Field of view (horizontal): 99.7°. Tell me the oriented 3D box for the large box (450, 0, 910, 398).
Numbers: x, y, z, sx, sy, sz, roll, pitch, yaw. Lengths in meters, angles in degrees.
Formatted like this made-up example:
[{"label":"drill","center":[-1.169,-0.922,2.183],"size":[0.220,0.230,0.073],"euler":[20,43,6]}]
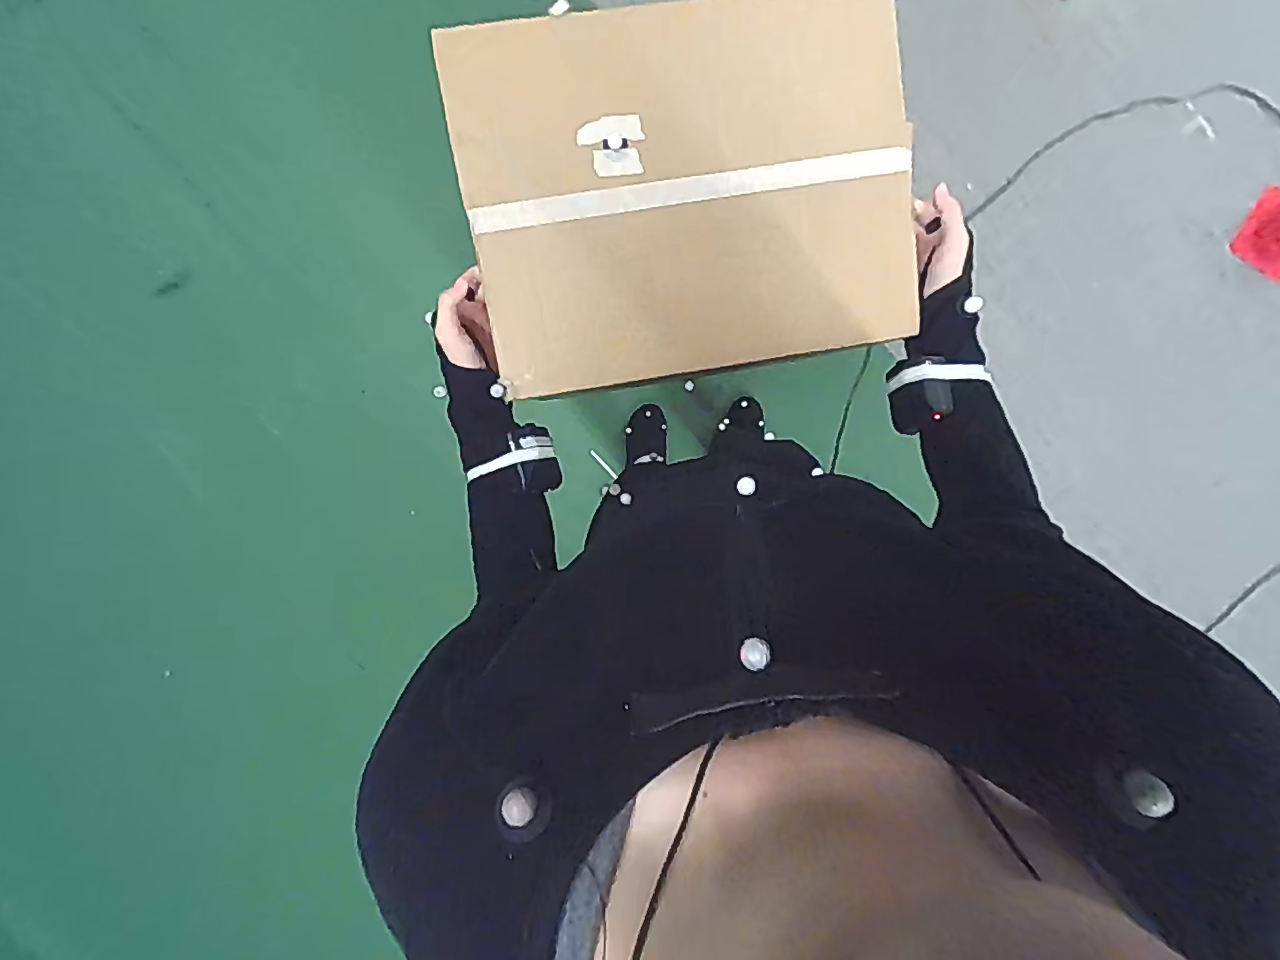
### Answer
[{"label":"large box","center":[0.042,-0.283,0.647],"size":[0.408,0.320,0.320],"euler":[-9,99,-3]}]
